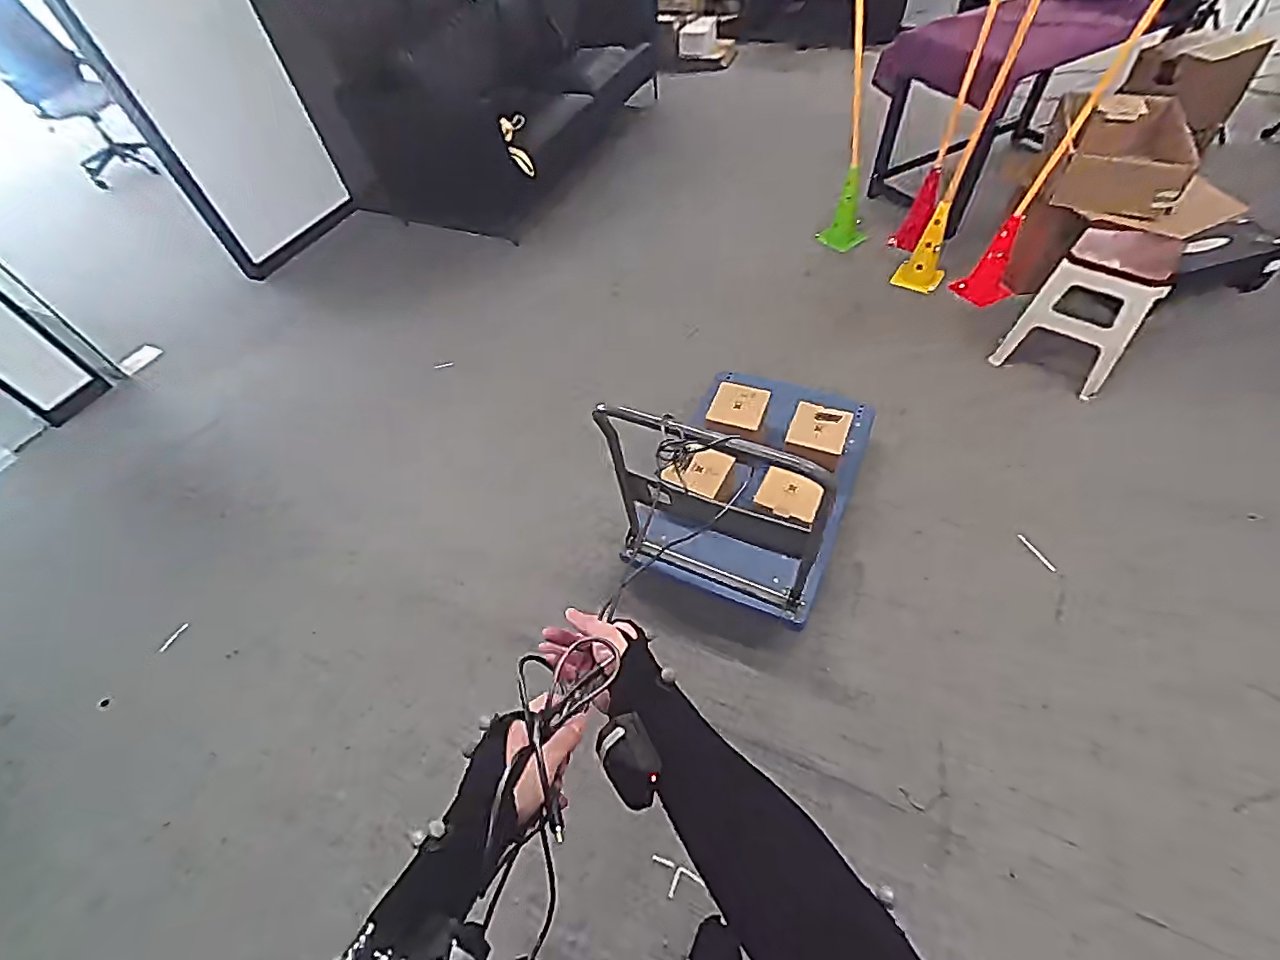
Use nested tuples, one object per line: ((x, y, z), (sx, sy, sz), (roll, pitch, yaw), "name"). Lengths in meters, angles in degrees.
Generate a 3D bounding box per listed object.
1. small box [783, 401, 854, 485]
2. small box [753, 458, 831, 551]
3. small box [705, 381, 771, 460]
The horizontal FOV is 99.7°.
((0.547, -0.113, 1.678), (0.168, 0.176, 0.179), (17, 59, 20), "small box")
((0.431, 0.072, 1.560), (0.168, 0.176, 0.179), (20, 60, 21), "small box")
((0.320, -0.189, 1.765), (0.168, 0.176, 0.179), (16, 58, 18), "small box")
